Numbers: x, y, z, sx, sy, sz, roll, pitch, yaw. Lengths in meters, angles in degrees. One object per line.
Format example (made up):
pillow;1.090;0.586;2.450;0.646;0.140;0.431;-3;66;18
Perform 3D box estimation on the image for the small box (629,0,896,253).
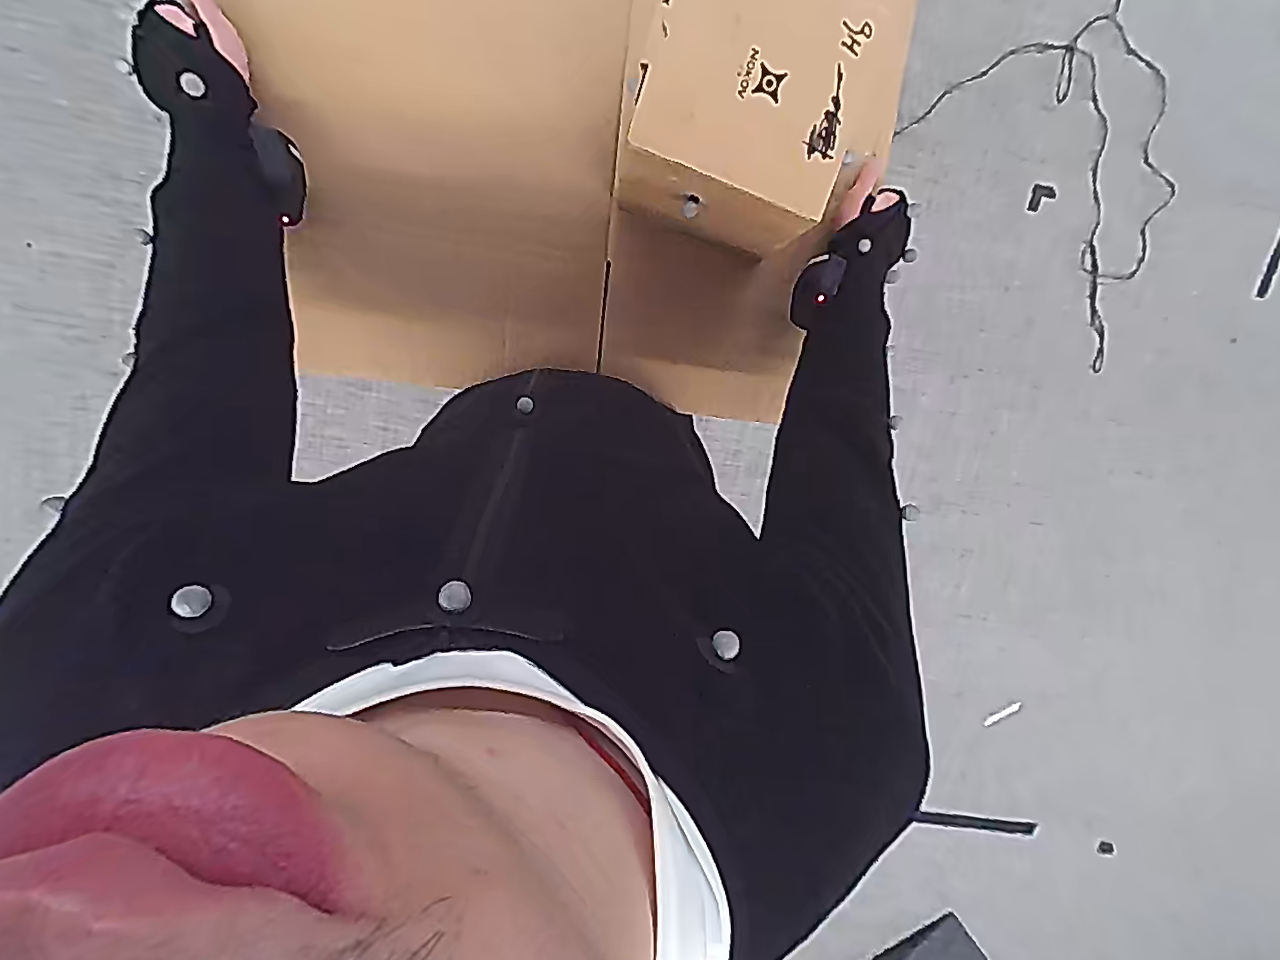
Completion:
small box;0.094;-0.337;0.514;0.179;0.176;0.168;18;99;-7
